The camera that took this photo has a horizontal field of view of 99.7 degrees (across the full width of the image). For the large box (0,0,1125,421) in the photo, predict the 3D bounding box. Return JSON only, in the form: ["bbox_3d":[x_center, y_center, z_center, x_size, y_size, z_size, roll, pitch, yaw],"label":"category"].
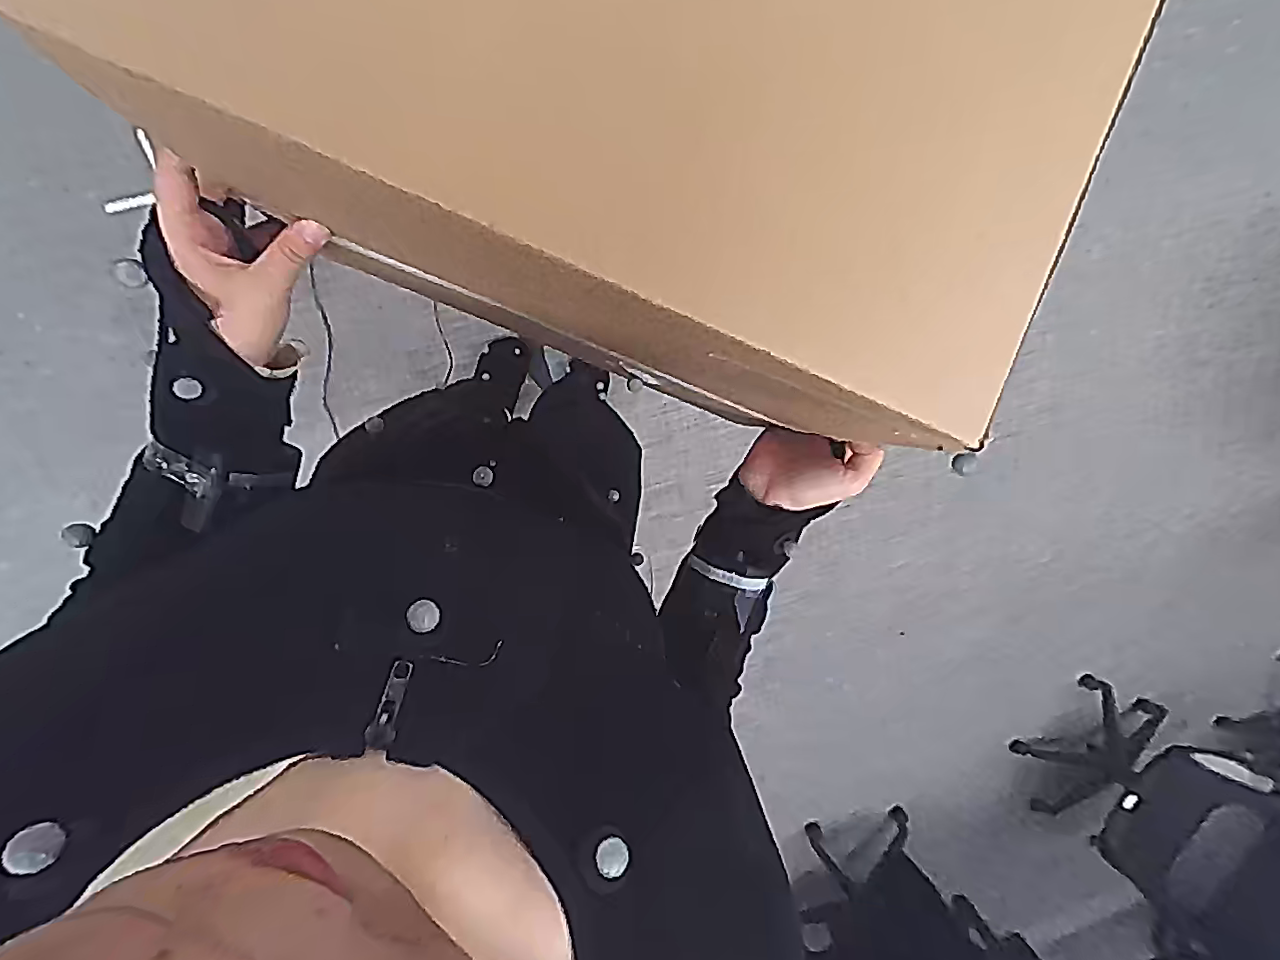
[{"bbox_3d":[-0.009,-0.253,0.343,0.408,0.320,0.320,17,96,-14],"label":"large box"}]
